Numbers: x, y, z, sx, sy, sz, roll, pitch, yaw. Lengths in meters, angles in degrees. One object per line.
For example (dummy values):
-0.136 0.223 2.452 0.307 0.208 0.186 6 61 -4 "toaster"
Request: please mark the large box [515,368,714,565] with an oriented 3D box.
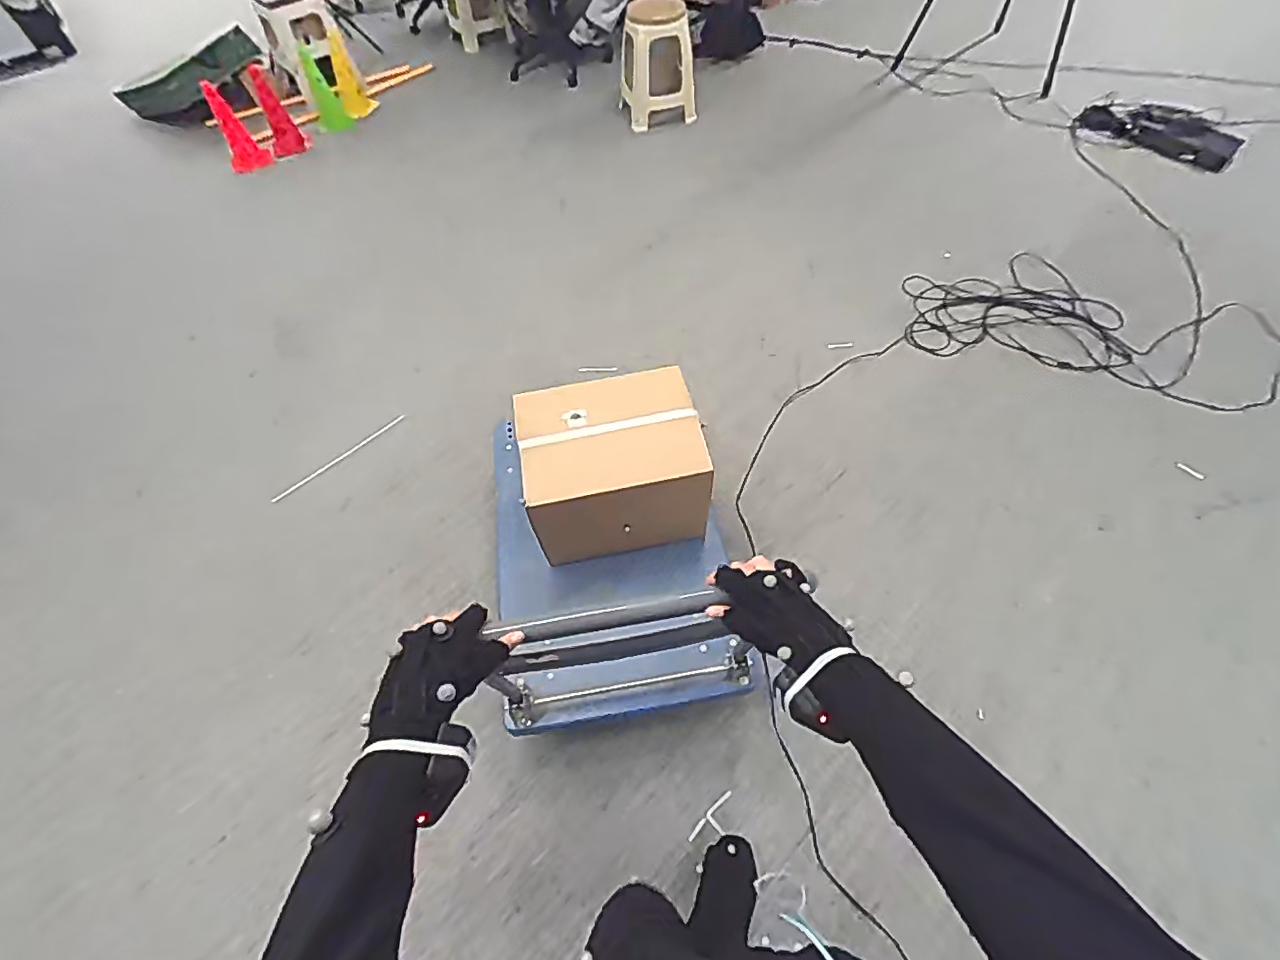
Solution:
-0.058 -0.025 1.336 0.408 0.320 0.320 -13 58 -4 "large box"
